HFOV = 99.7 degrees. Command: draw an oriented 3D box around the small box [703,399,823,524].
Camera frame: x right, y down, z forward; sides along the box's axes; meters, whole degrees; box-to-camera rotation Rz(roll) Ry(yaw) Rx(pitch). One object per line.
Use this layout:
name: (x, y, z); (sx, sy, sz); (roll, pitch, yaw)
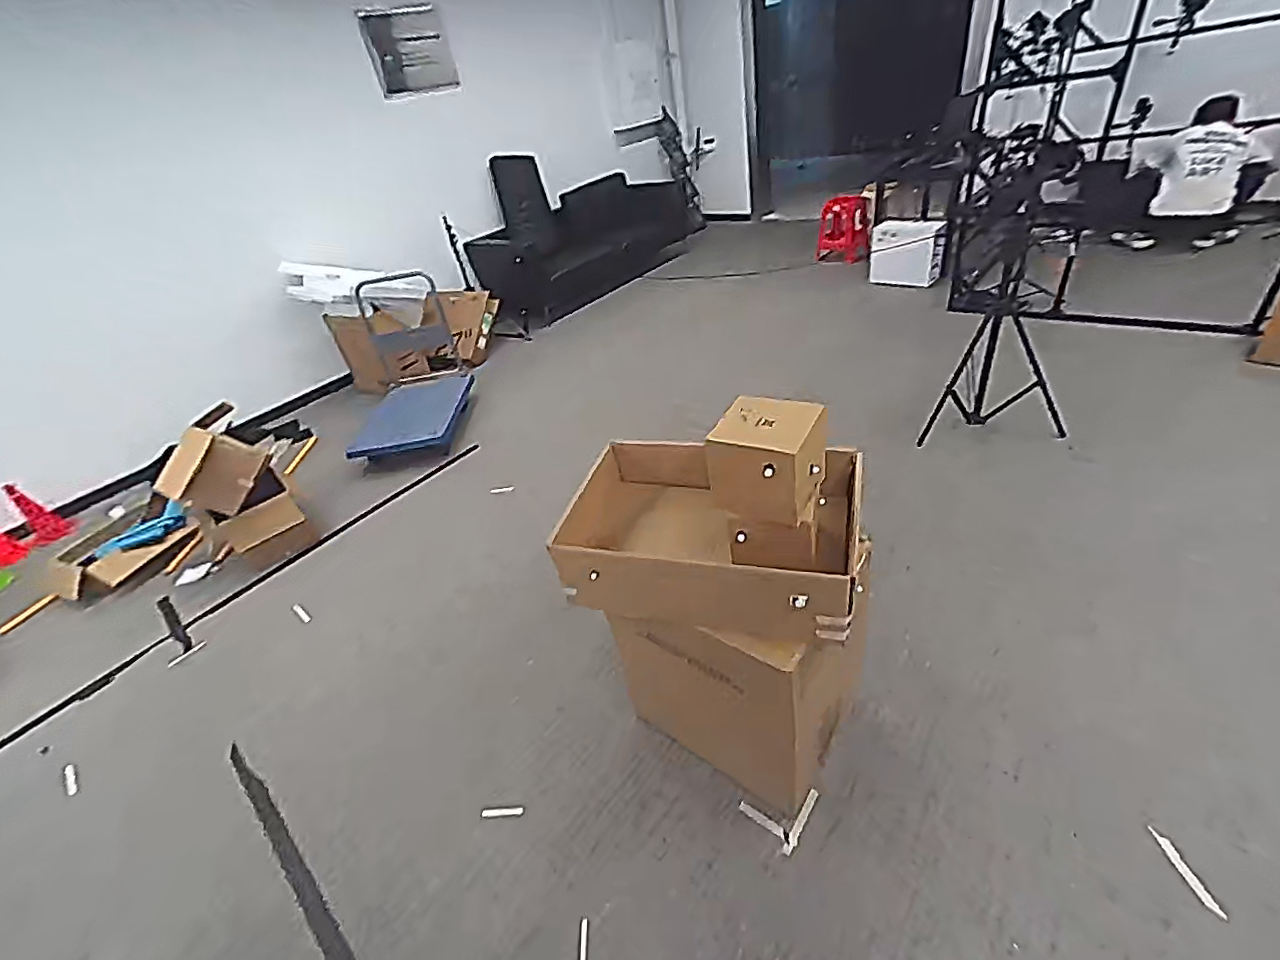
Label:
small box: (0.245, -0.036, 1.048); (0.179, 0.176, 0.168); (12, 42, 32)
